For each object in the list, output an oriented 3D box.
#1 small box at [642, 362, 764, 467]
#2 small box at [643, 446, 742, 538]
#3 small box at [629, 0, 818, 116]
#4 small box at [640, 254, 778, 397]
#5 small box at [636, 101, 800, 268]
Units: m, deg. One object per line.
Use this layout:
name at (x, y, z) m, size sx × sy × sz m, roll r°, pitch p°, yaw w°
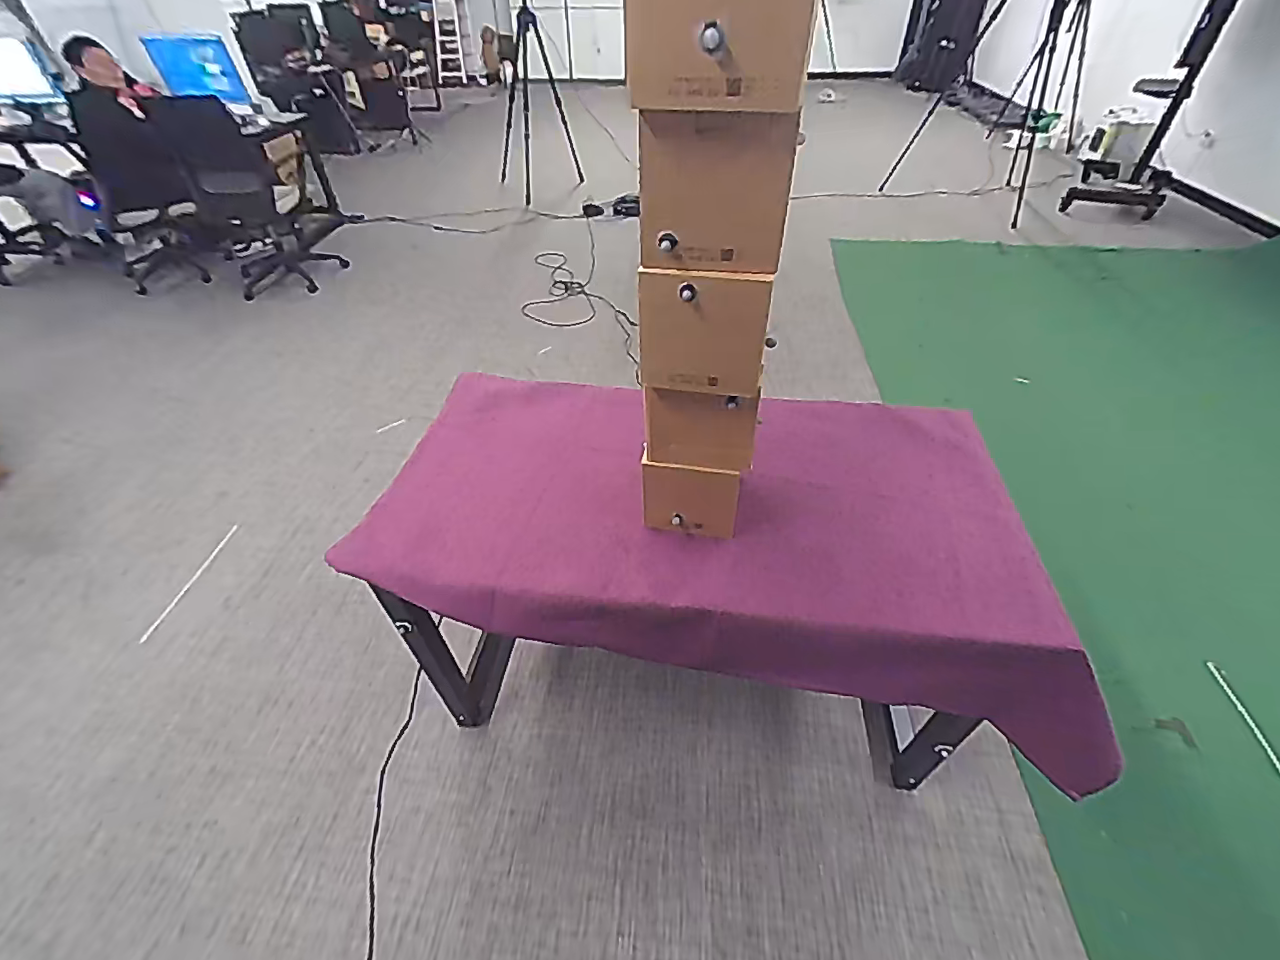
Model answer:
small box at (0.105, -0.137, 0.882) m, size 0.179 × 0.176 × 0.168 m, roll 6°, pitch 45°, yaw 8°
small box at (0.102, -0.020, 0.994) m, size 0.168 × 0.176 × 0.179 m, roll 7°, pitch 45°, yaw 10°
small box at (0.086, -0.468, 0.516) m, size 0.168 × 0.176 × 0.179 m, roll 9°, pitch 45°, yaw 12°
small box at (0.097, -0.239, 0.752) m, size 0.168 × 0.176 × 0.179 m, roll 8°, pitch 44°, yaw 11°
small box at (0.093, -0.367, 0.649) m, size 0.168 × 0.176 × 0.179 m, roll 5°, pitch 43°, yaw 7°
